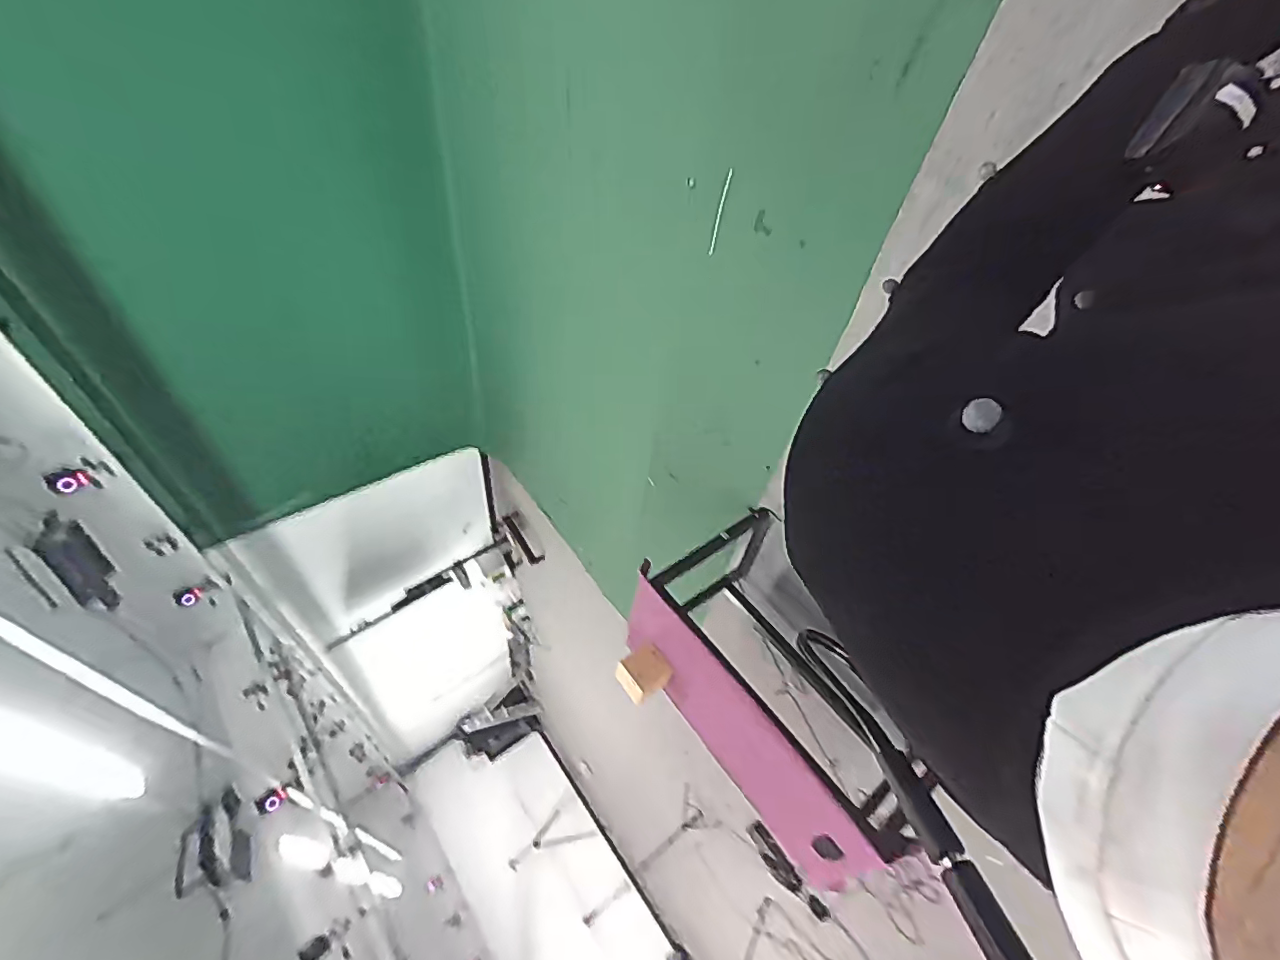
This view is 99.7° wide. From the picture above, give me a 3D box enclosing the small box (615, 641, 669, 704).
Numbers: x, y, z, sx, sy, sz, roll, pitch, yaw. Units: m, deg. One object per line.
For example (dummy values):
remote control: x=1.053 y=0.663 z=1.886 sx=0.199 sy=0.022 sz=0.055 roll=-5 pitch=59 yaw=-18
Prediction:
small box: x=0.009 y=0.839 z=2.363 sx=0.168 sy=0.176 sz=0.179 roll=46 pitch=148 yaw=26
